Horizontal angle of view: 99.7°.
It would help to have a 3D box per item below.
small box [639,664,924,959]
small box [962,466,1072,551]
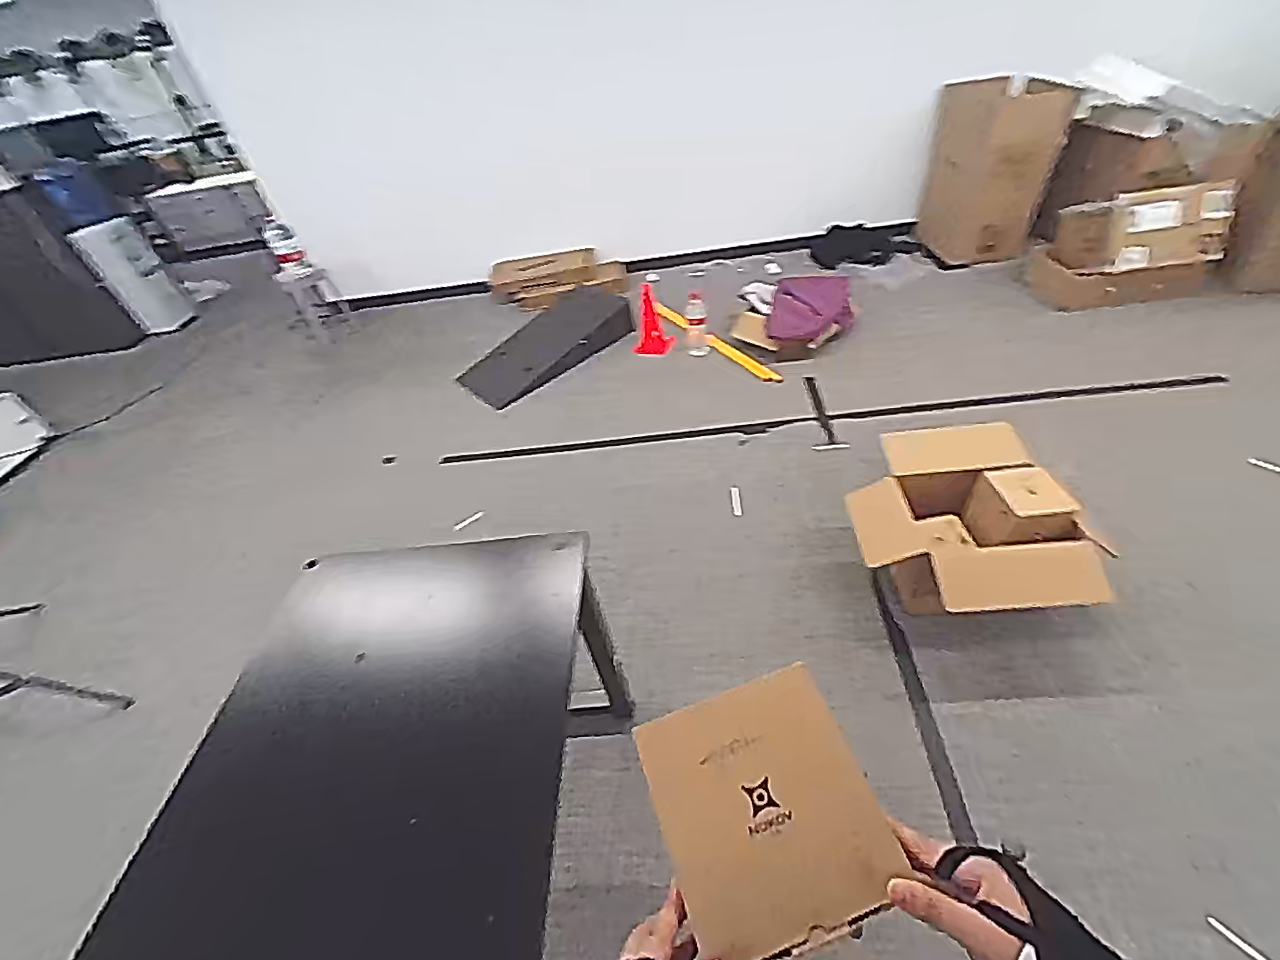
[{"bbox_3d":[0.111,0.299,0.487,0.168,0.176,0.179,-19,52,-5],"label":"small box"},{"bbox_3d":[1.058,0.087,1.535,0.168,0.176,0.179,-7,43,-1],"label":"small box"}]
